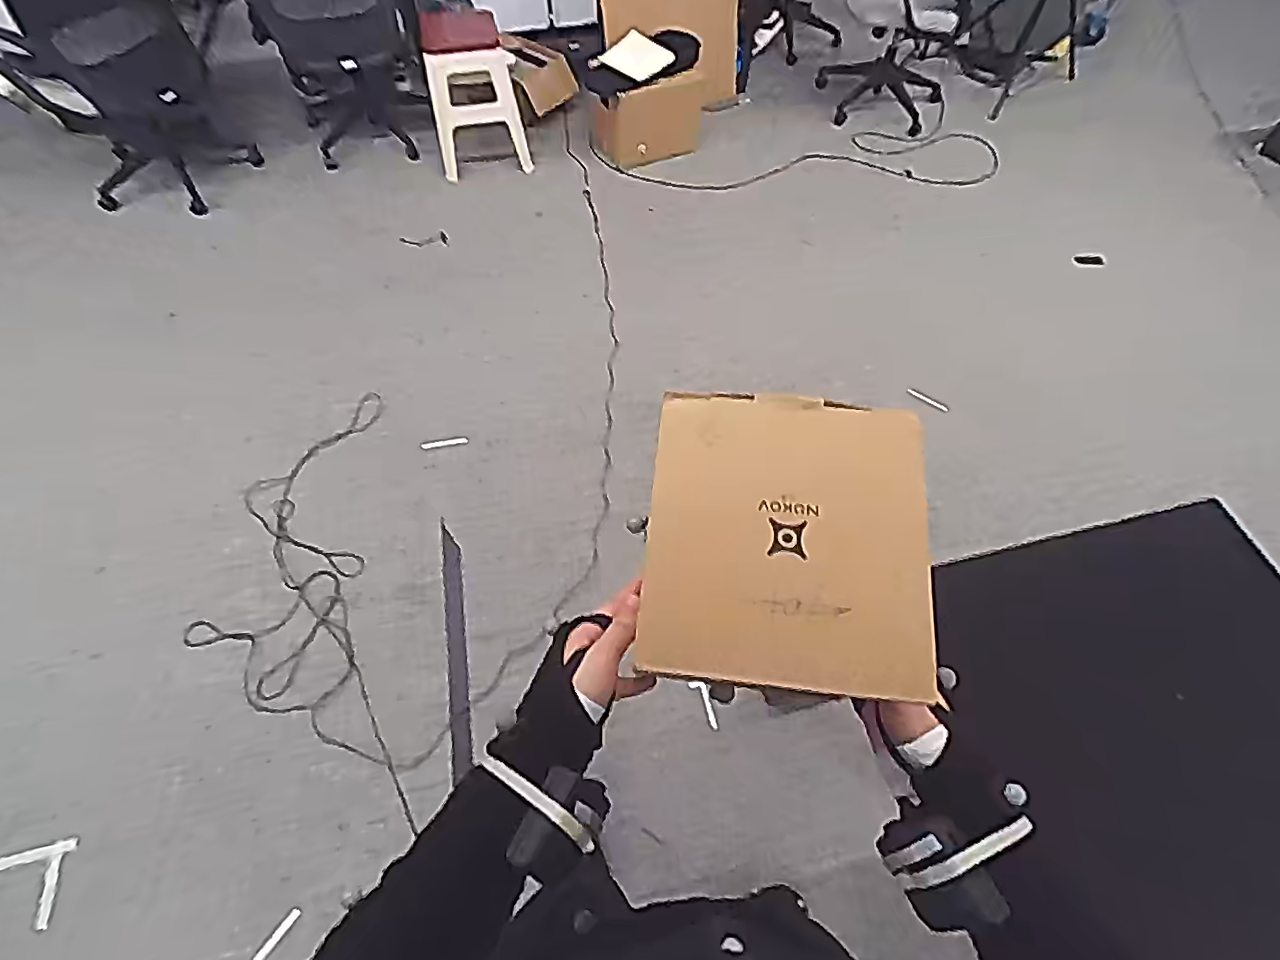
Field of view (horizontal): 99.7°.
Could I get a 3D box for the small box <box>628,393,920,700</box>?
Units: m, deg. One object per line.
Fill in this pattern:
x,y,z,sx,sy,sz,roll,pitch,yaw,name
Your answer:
0.082,0.057,0.402,0.168,0.176,0.179,5,72,2,small box
